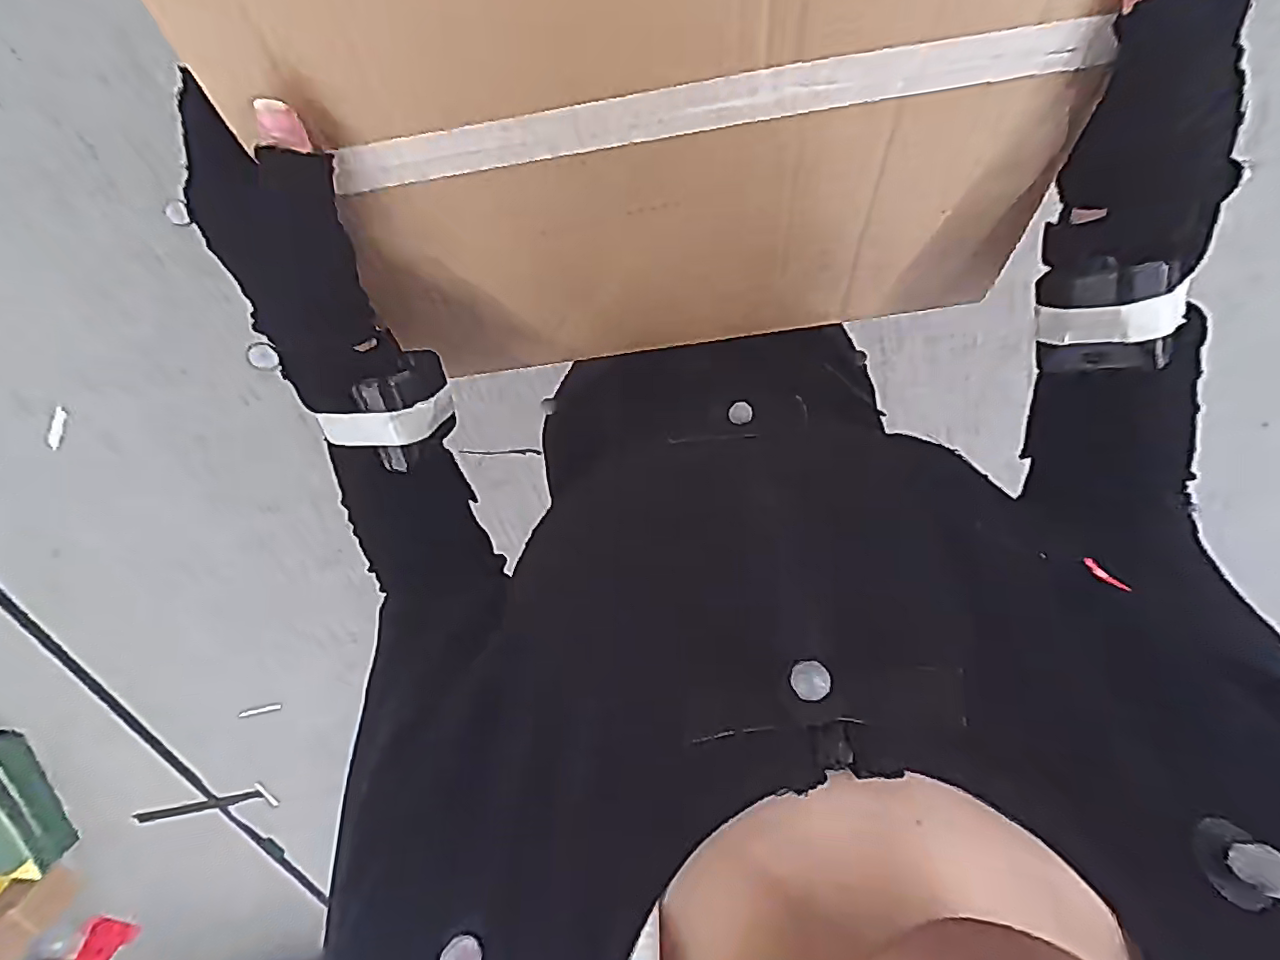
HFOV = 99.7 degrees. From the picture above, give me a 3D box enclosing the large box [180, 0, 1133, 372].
[{"bbox_3d":[0.008,-0.309,0.335,0.408,0.320,0.320,-8,151,3],"label":"large box"}]
